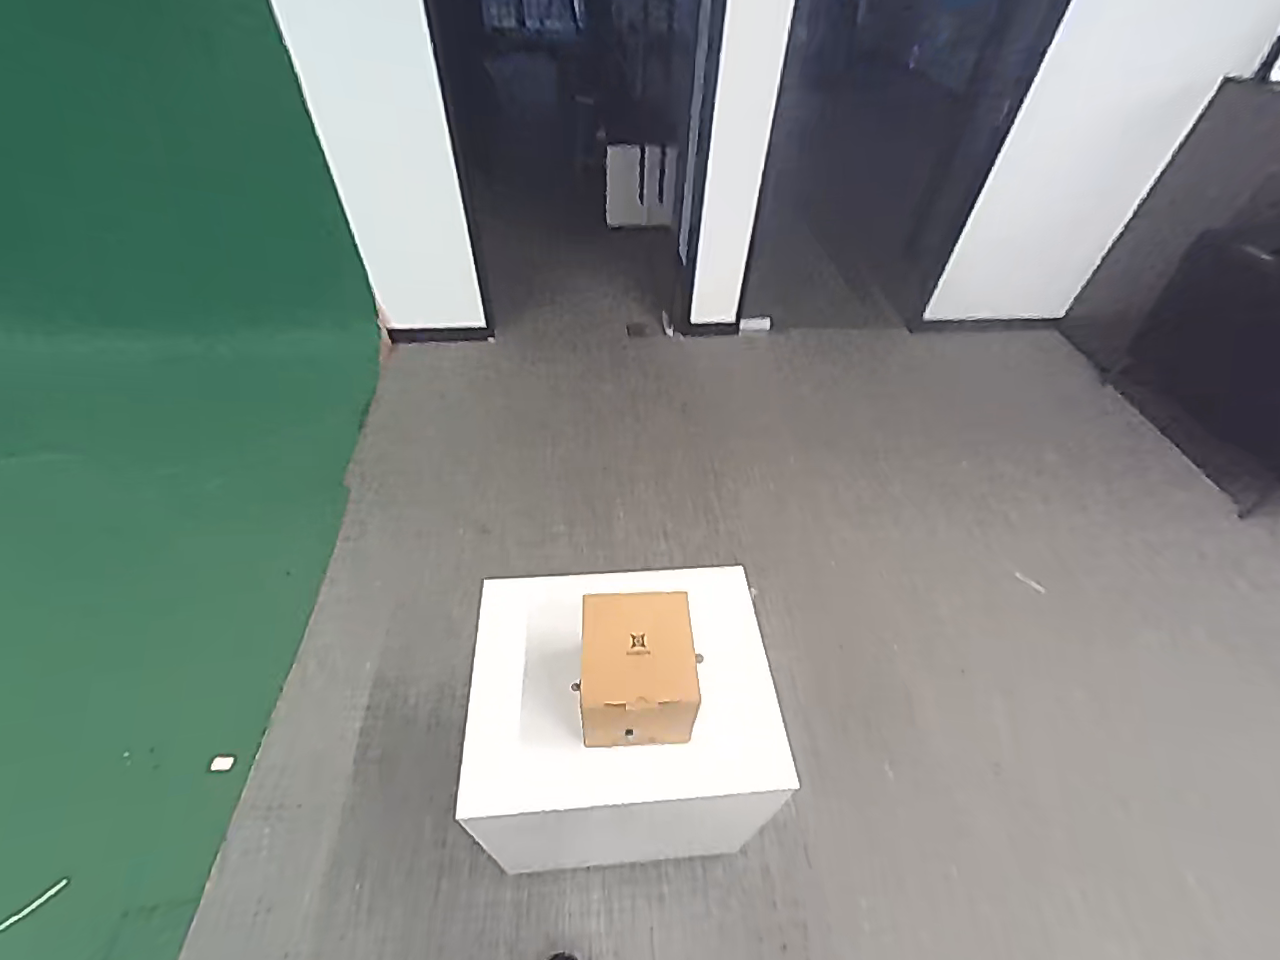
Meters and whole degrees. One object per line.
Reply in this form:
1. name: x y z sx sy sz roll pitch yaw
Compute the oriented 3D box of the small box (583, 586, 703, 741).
1. small box: -0.004 0.285 0.840 0.168 0.176 0.179 -1 47 -4
